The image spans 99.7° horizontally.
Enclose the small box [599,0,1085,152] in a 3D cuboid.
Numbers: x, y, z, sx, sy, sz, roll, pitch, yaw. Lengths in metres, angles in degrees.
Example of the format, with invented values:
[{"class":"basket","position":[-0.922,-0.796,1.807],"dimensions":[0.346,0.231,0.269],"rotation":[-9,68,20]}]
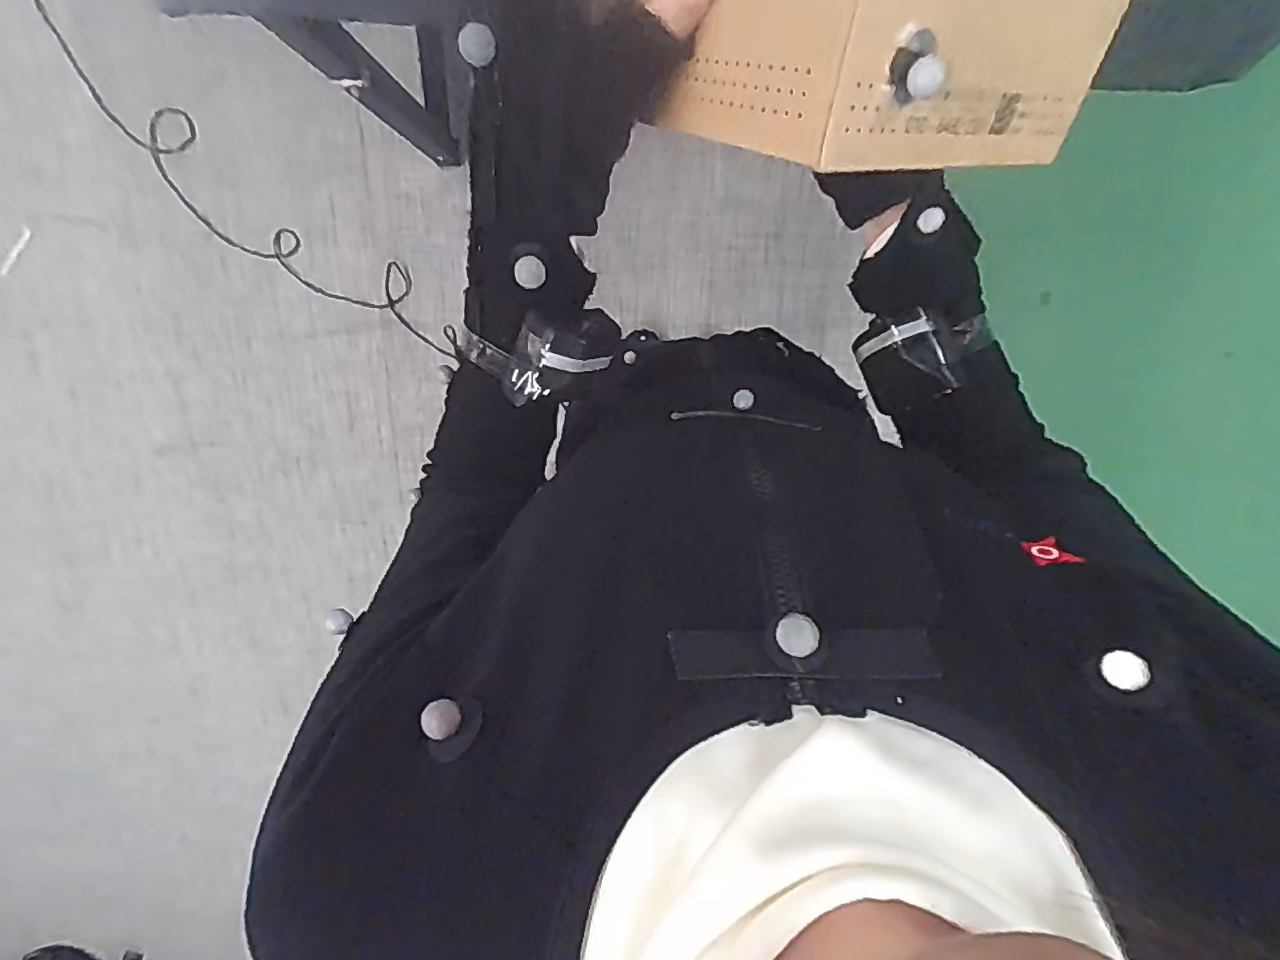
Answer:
[{"class":"small box","position":[0.092,-0.256,0.243],"dimensions":[0.168,0.179,0.176],"rotation":[-18,134,-27]}]
